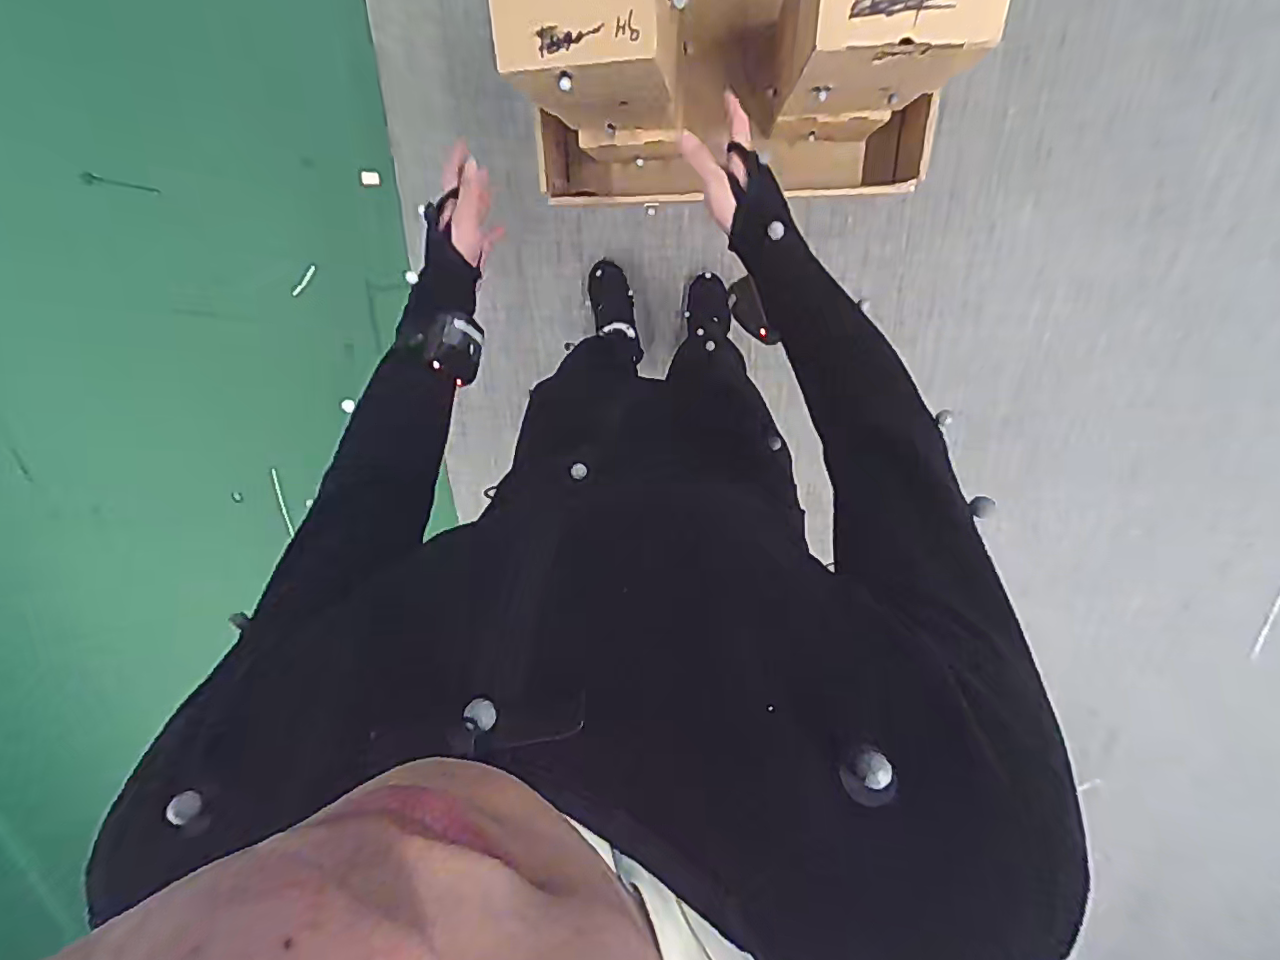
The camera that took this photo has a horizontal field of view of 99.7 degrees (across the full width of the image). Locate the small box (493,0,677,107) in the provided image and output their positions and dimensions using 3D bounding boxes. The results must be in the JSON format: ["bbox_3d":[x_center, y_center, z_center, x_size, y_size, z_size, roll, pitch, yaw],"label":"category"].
[{"bbox_3d":[-0.051,-0.524,0.573,0.168,0.176,0.179,1,112,9],"label":"small box"}]

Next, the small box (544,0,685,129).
[{"bbox_3d":[-0.030,-0.590,0.721,0.168,0.176,0.179,5,114,7],"label":"small box"}]

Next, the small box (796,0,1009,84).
[{"bbox_3d":[0.255,-0.511,0.532,0.168,0.176,0.179,4,113,5],"label":"small box"}]
